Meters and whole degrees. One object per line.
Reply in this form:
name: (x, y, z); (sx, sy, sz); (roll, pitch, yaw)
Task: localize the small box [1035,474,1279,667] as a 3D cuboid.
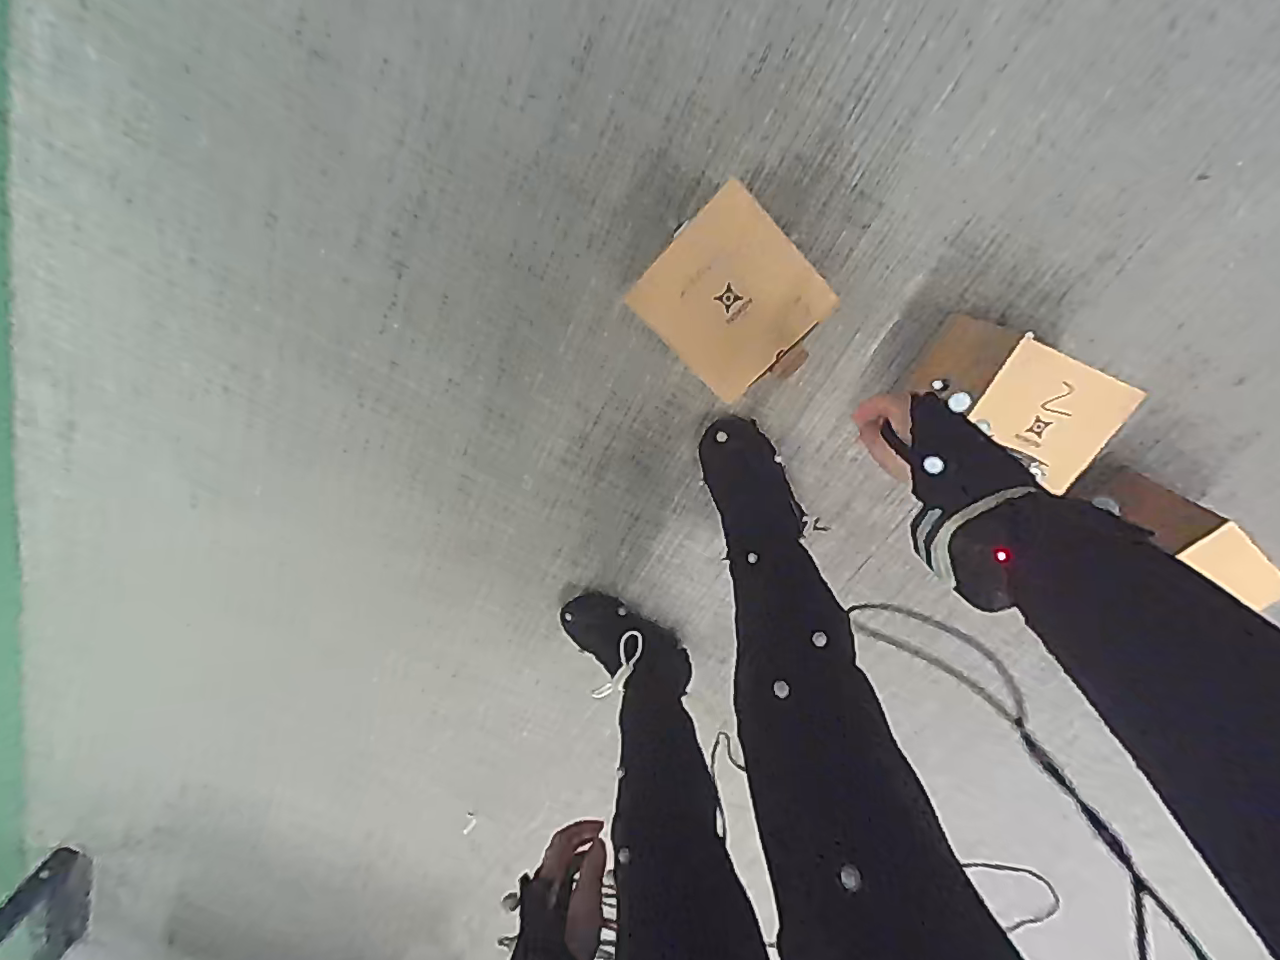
small box: (0.732, 0.121, 0.776); (0.168, 0.176, 0.179); (36, 113, -14)

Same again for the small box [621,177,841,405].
small box: (0.100, -0.224, 0.643); (0.179, 0.176, 0.168); (42, 110, -14)
